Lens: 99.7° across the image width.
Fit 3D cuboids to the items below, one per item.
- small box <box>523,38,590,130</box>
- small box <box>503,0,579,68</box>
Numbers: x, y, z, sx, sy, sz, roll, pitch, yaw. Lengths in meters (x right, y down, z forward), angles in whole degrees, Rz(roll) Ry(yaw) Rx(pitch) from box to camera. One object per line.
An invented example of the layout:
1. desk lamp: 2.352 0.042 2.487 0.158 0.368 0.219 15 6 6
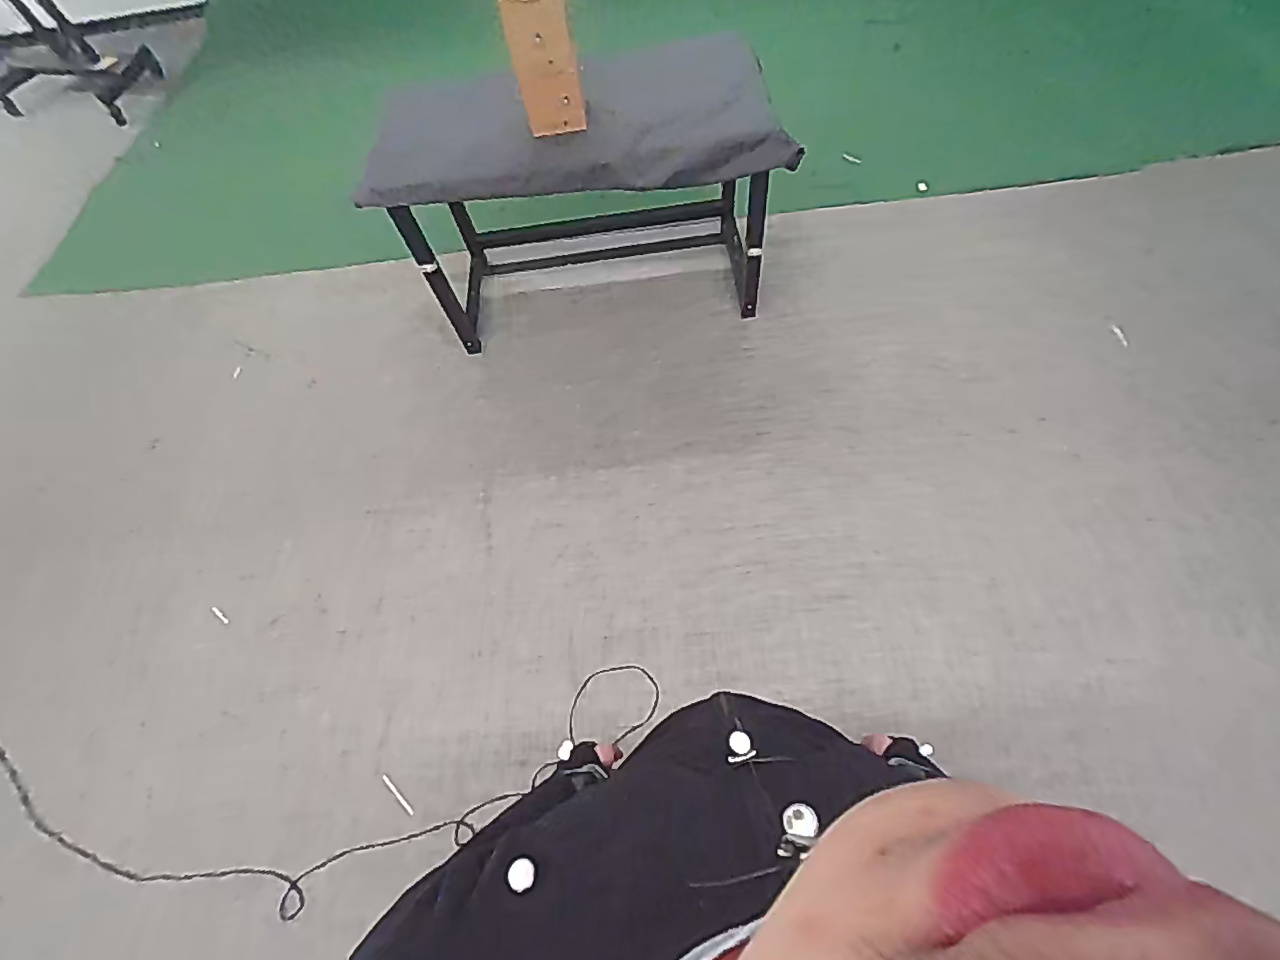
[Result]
1. small box: -0.243 -1.162 1.597 0.168 0.176 0.179 -6 60 1
2. small box: -0.259 -1.244 1.456 0.168 0.176 0.179 -4 63 2
